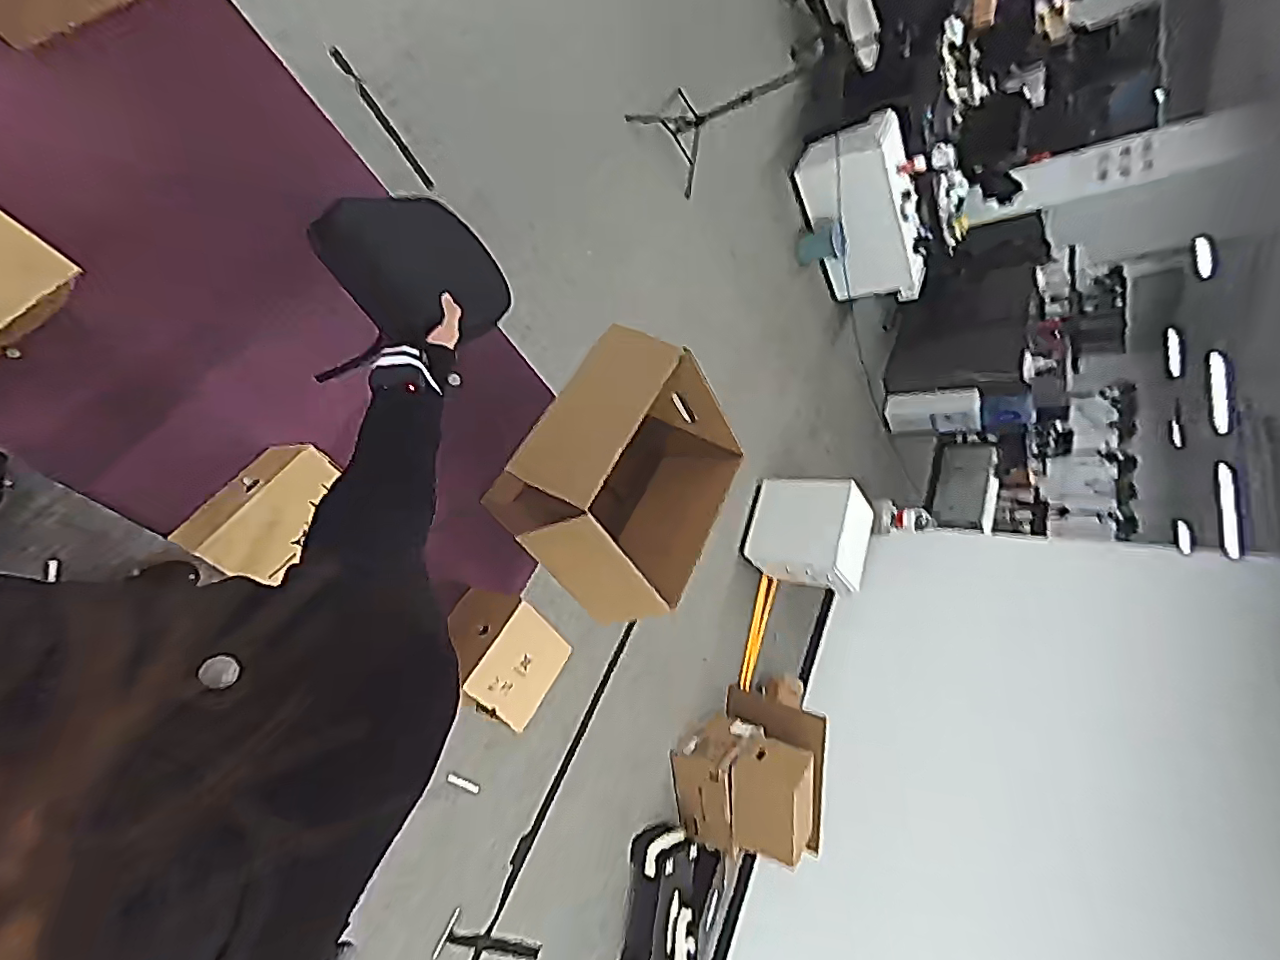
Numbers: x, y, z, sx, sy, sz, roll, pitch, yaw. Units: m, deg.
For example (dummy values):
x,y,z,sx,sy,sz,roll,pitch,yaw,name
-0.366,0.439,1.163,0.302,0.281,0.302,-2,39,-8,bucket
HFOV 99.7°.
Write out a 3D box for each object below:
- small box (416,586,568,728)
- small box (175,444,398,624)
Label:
x,y,z,sx,sy,sz,roll,pitch,yaw,name
-0.273,0.317,1.001,0.179,0.176,0.168,-56,129,-32,small box
-0.486,0.067,0.745,0.168,0.176,0.179,55,53,-35,small box
